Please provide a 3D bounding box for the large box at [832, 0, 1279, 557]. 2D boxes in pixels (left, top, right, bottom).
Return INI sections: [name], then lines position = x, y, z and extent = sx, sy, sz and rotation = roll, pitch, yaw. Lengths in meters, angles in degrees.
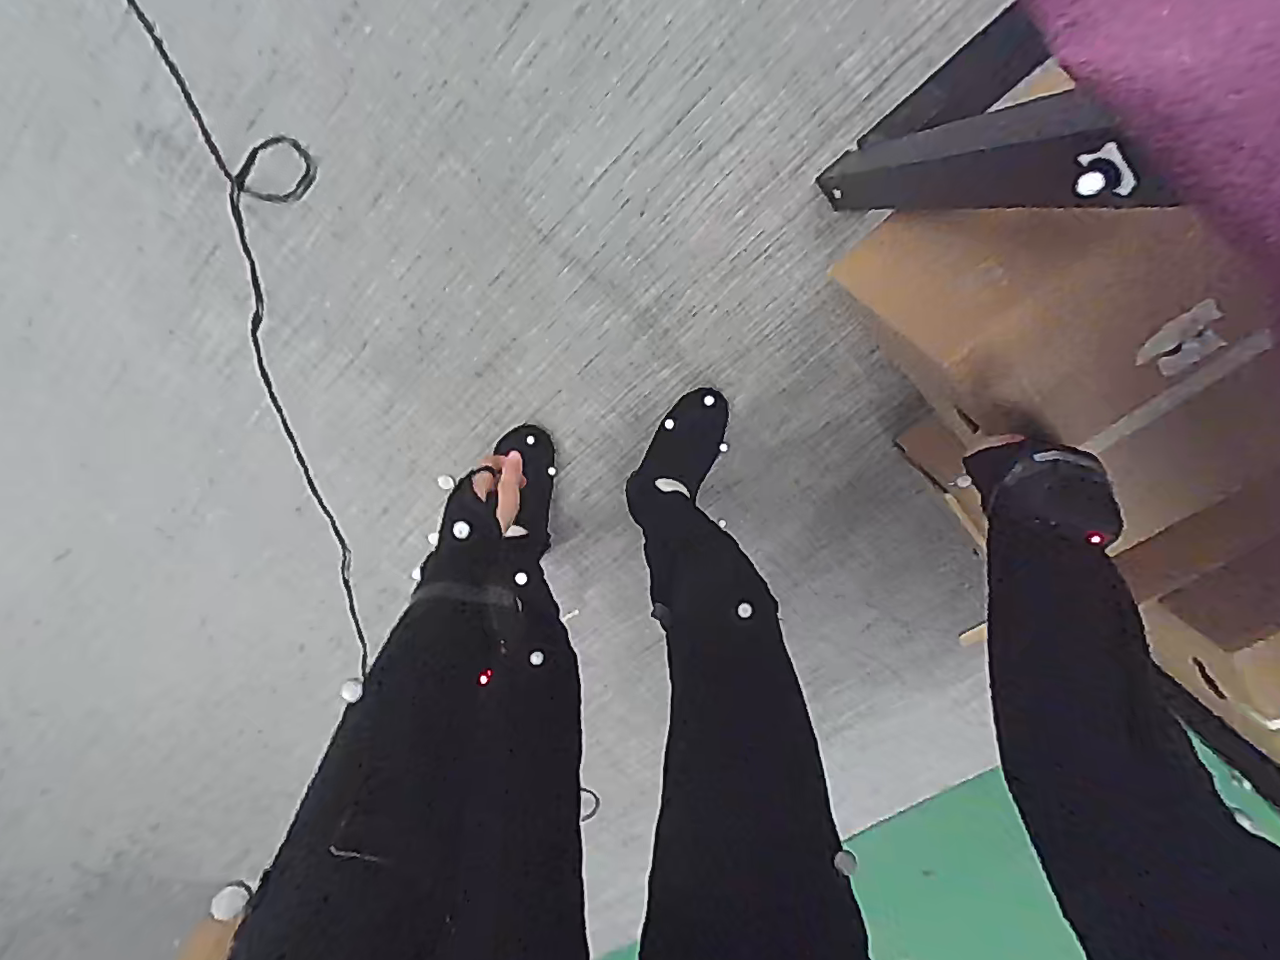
[large box]
position = 0.478, -0.210, 0.531
extent = 0.320, 0.320, 0.408
rotation = 39, 116, -21
